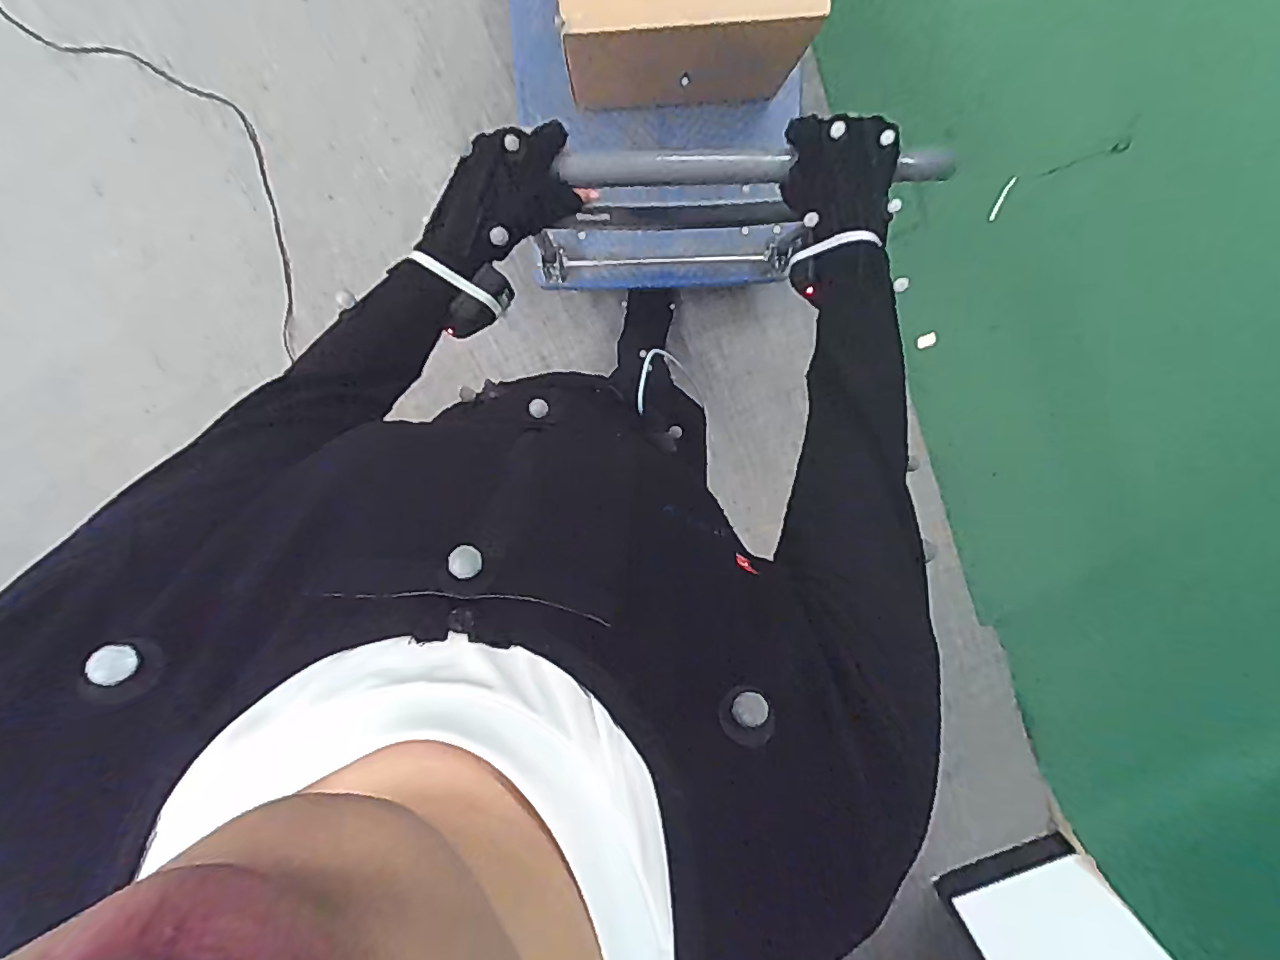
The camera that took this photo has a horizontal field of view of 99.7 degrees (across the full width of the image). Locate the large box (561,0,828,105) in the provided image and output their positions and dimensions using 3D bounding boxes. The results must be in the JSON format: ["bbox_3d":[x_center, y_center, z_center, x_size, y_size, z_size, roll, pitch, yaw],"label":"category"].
[{"bbox_3d":[0.069,-0.875,0.909,0.408,0.320,0.320,-5,106,0],"label":"large box"}]
